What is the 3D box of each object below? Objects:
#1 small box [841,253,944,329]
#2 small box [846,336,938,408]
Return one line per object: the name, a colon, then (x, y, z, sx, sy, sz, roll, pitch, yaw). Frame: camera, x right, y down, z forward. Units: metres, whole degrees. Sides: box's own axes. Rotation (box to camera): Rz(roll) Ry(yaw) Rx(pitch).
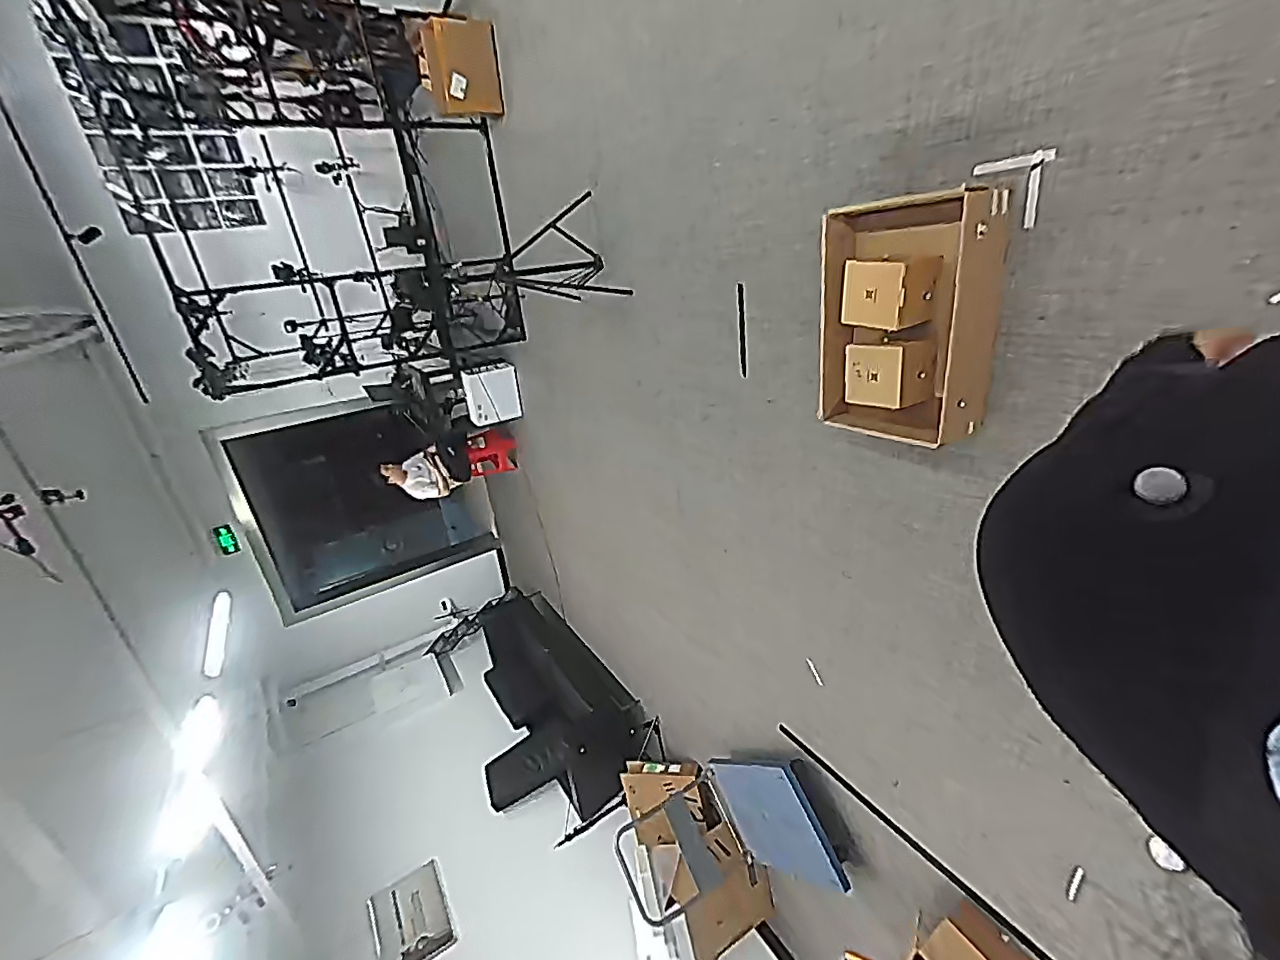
small box: (0.675, -0.514, 1.456, 0.179, 0.176, 0.168, 33, 135, 49)
small box: (0.707, -0.309, 1.521, 0.179, 0.176, 0.168, 24, 126, 54)
